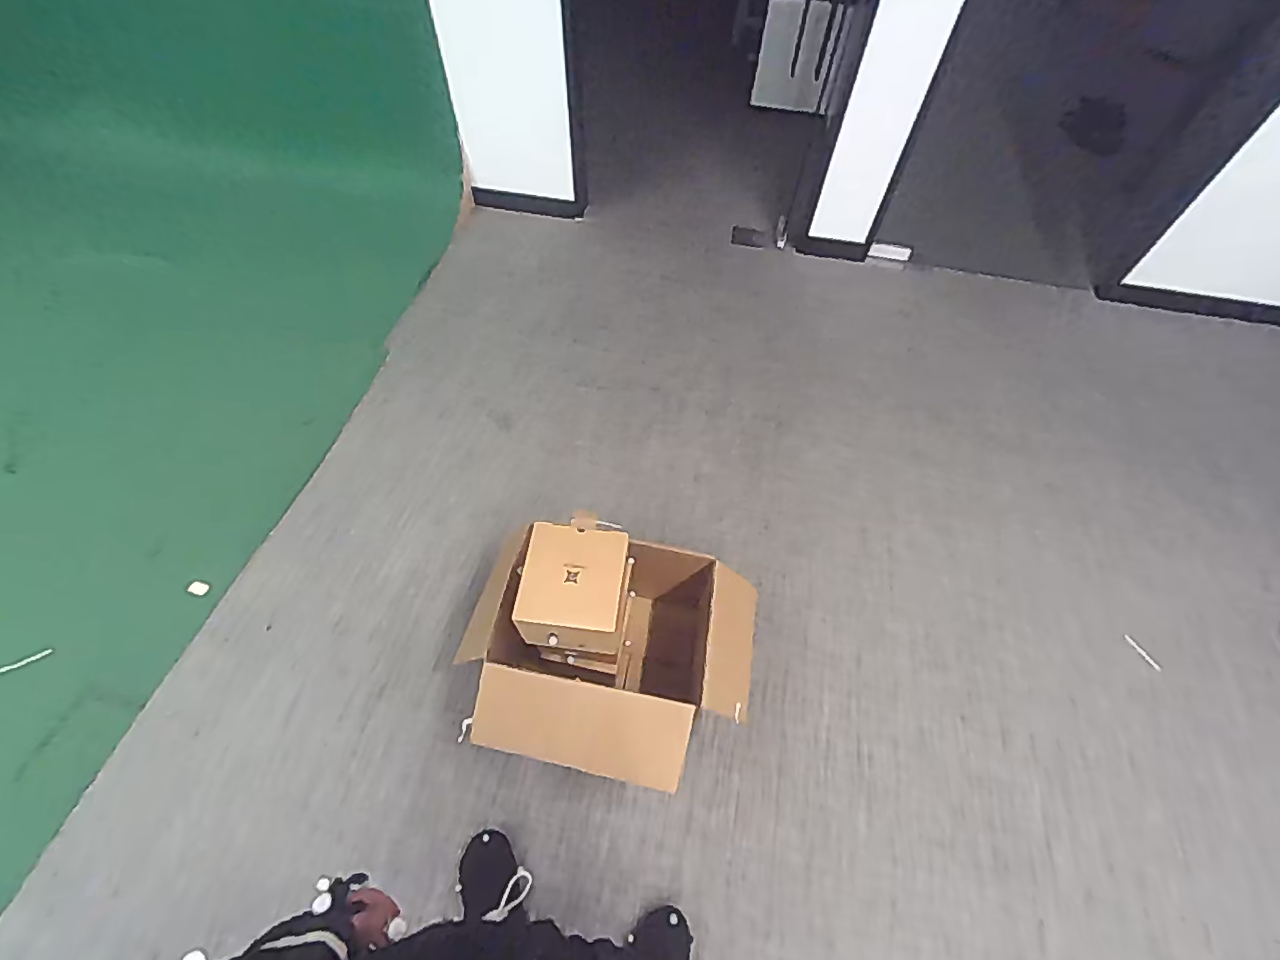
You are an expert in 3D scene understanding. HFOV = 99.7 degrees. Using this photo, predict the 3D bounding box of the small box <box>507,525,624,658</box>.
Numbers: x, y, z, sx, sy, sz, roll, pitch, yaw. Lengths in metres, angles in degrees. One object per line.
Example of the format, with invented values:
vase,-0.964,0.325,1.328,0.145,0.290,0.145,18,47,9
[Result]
small box,-0.119,0.201,0.948,0.168,0.176,0.179,7,58,1

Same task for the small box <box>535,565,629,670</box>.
small box,-0.120,0.270,1.095,0.168,0.176,0.179,9,60,2
